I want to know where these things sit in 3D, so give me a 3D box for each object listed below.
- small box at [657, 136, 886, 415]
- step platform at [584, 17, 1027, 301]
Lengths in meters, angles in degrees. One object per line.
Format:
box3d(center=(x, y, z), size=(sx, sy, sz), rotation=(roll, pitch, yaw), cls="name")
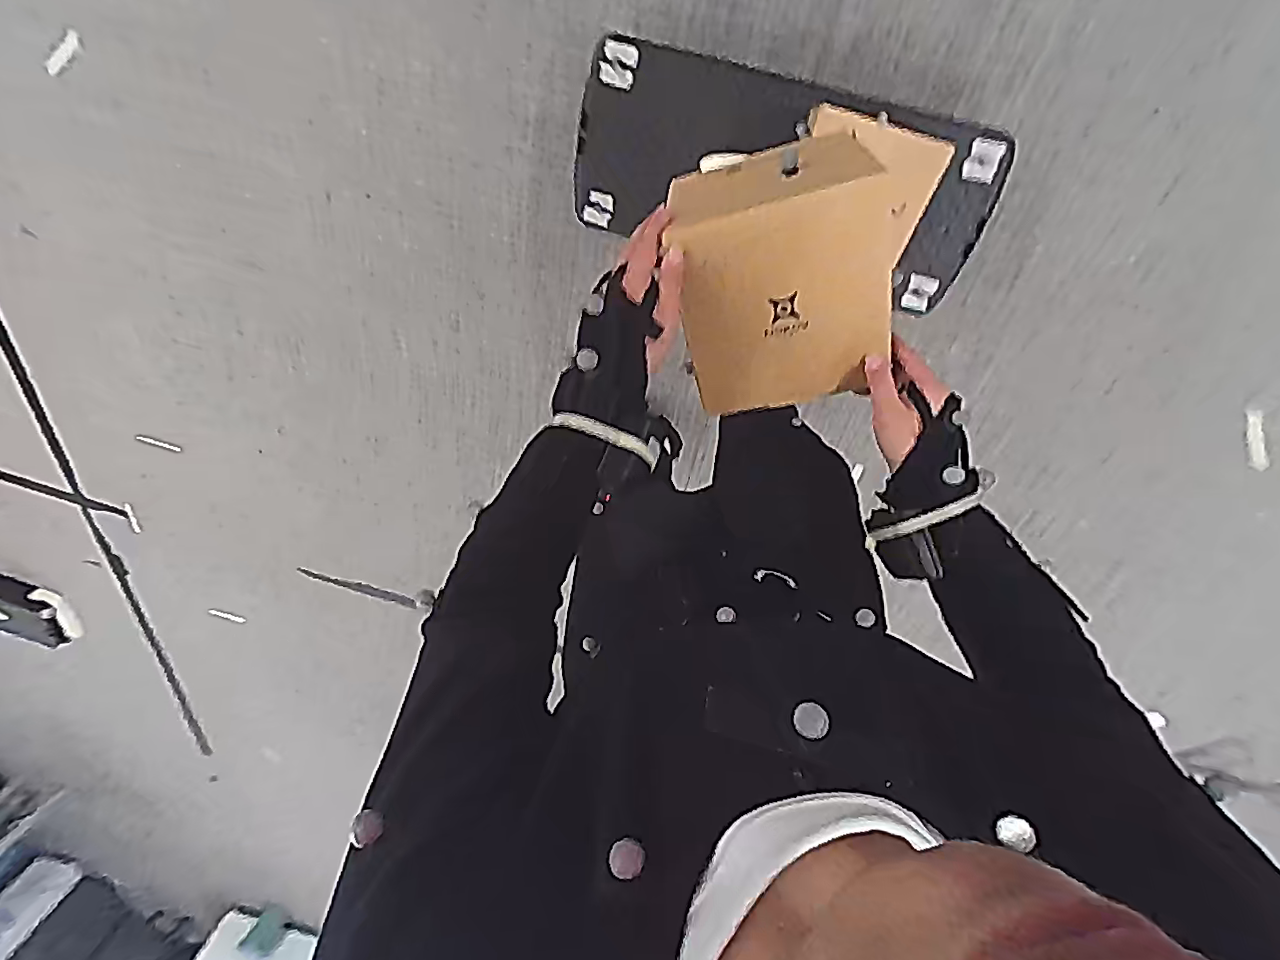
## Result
box3d(center=(0.117, -0.191, 0.496), size=(0.168, 0.176, 0.179), rotation=(-10, 130, 15), cls="small box")
box3d(center=(0.249, -0.536, 0.928), size=(0.684, 0.204, 0.286), rotation=(16, 123, 3), cls="step platform")
